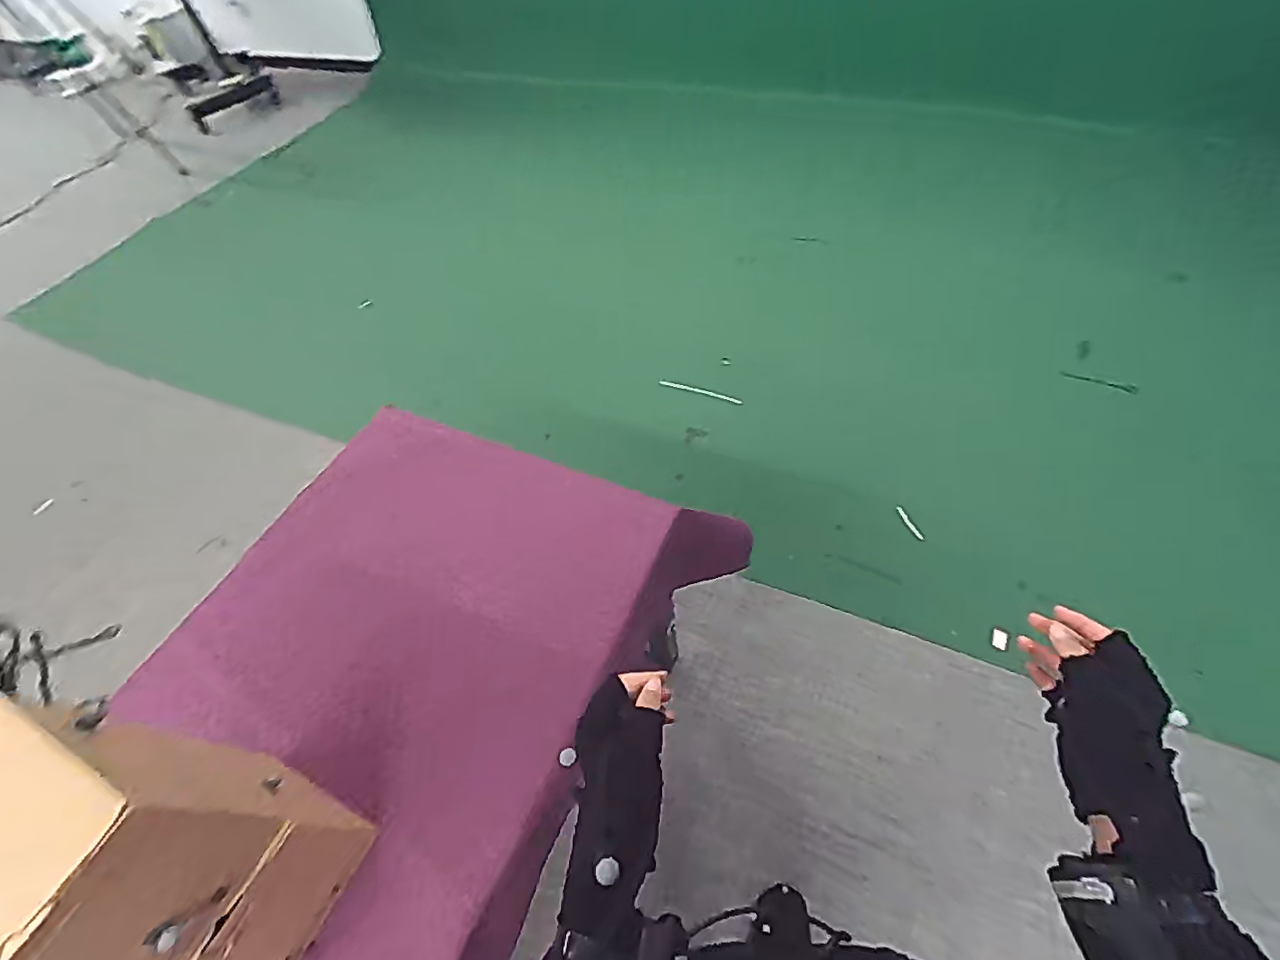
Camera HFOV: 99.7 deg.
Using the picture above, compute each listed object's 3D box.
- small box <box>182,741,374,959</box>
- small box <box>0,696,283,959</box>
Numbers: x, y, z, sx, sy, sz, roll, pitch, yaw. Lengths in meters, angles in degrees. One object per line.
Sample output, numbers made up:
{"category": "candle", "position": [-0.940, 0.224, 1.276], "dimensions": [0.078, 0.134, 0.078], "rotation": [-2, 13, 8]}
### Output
{"category": "small box", "position": [-0.418, 0.398, 0.552], "dimensions": [0.179, 0.176, 0.168], "rotation": [19, 59, 19]}
{"category": "small box", "position": [-0.441, 0.301, 0.420], "dimensions": [0.179, 0.176, 0.168], "rotation": [19, 59, 18]}
